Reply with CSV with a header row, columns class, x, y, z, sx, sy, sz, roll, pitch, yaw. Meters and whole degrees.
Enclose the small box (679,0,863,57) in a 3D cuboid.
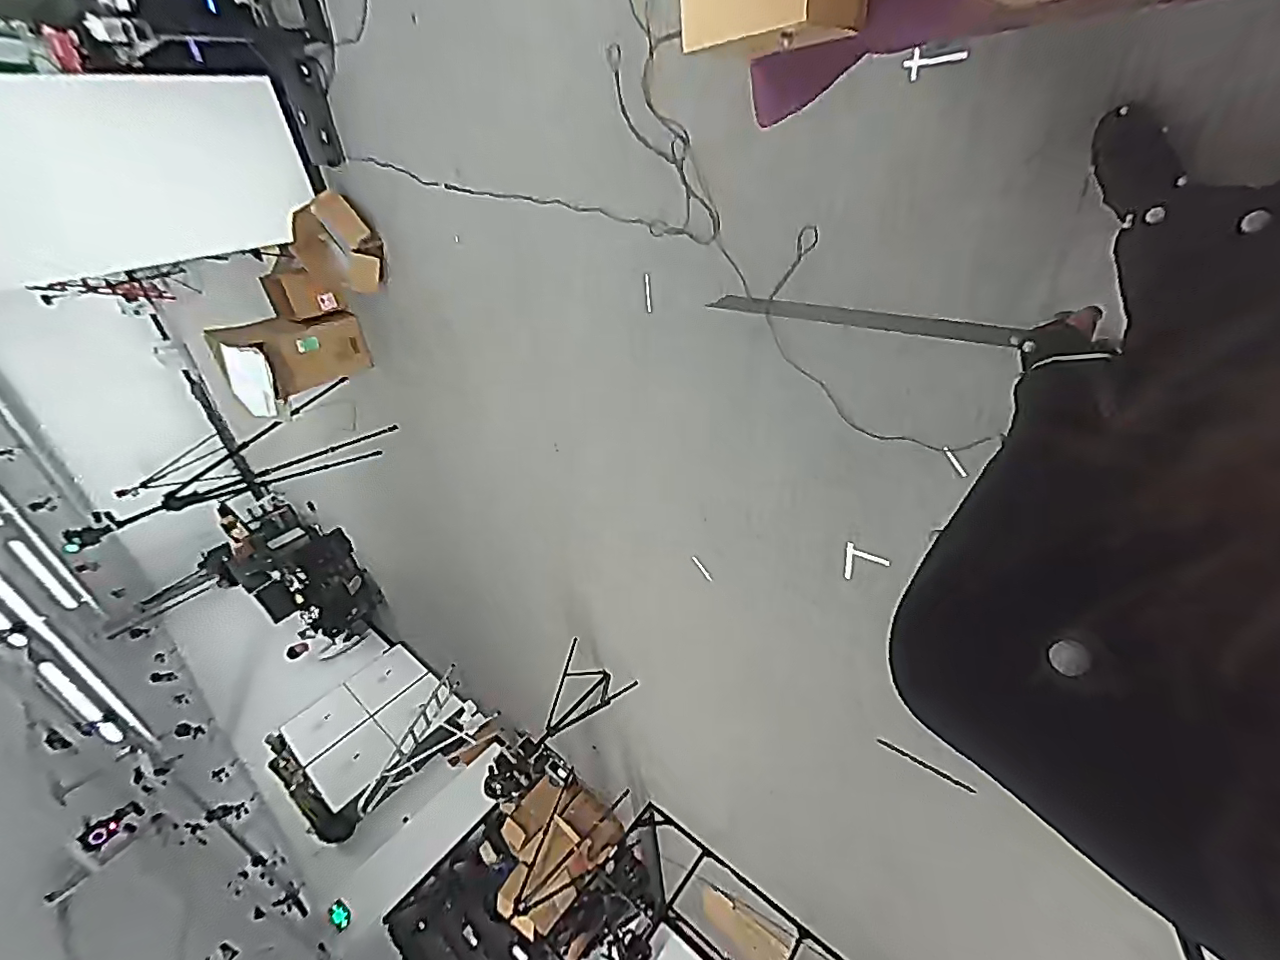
class,x,y,z,sx,sy,sz,roll,pitch,yaw
small box,0.163,-0.640,0.665,0.179,0.176,0.168,18,129,36
